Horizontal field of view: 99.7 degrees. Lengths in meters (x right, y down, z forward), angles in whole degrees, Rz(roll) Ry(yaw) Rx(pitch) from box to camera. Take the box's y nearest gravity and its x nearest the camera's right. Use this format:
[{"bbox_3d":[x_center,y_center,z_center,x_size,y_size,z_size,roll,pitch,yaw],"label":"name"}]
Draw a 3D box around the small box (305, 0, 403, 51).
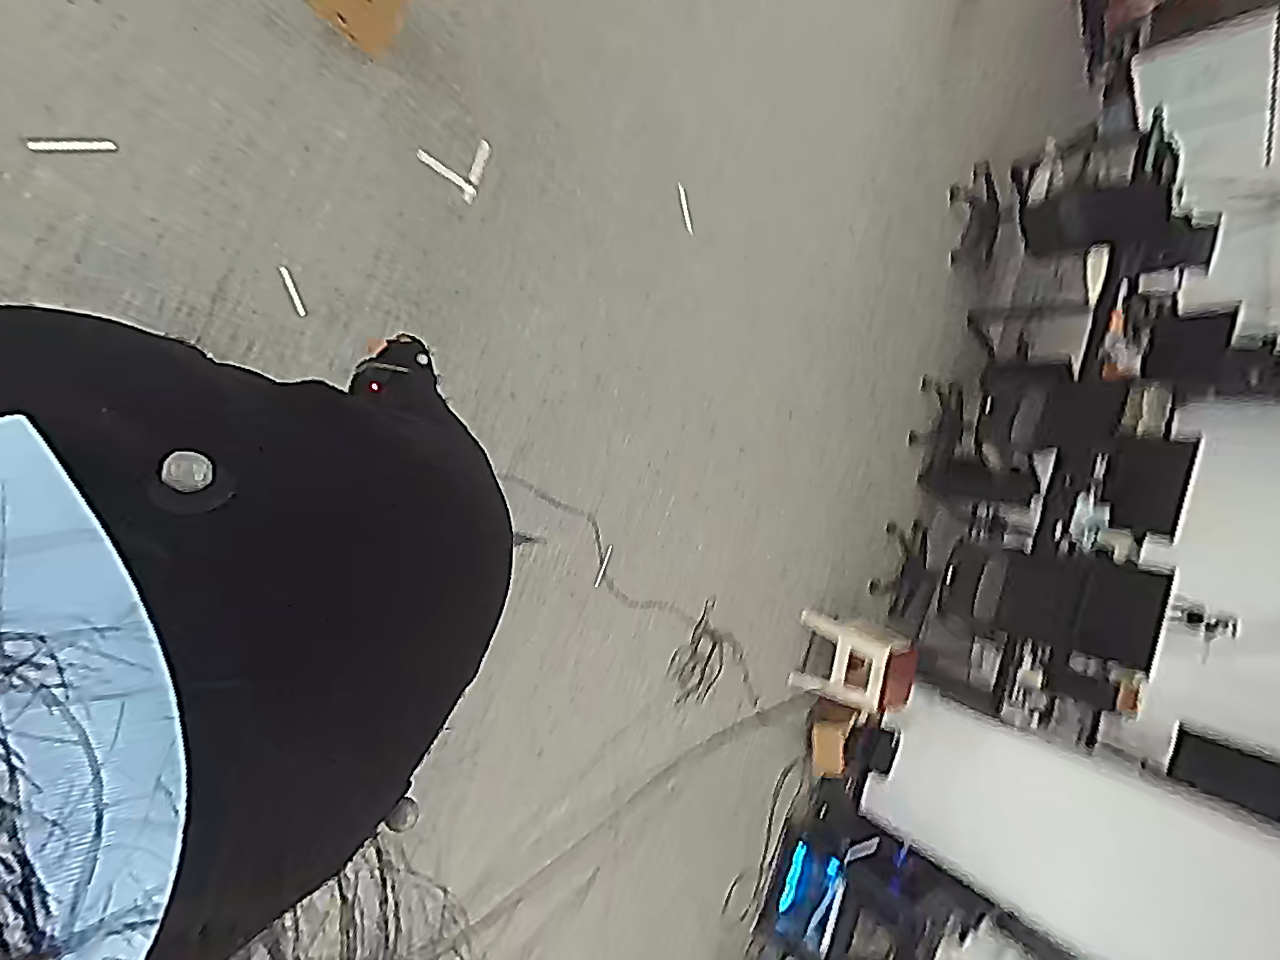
[{"bbox_3d":[-0.612,-1.104,1.180,0.168,0.176,0.179,22,84,-41],"label":"small box"}]
